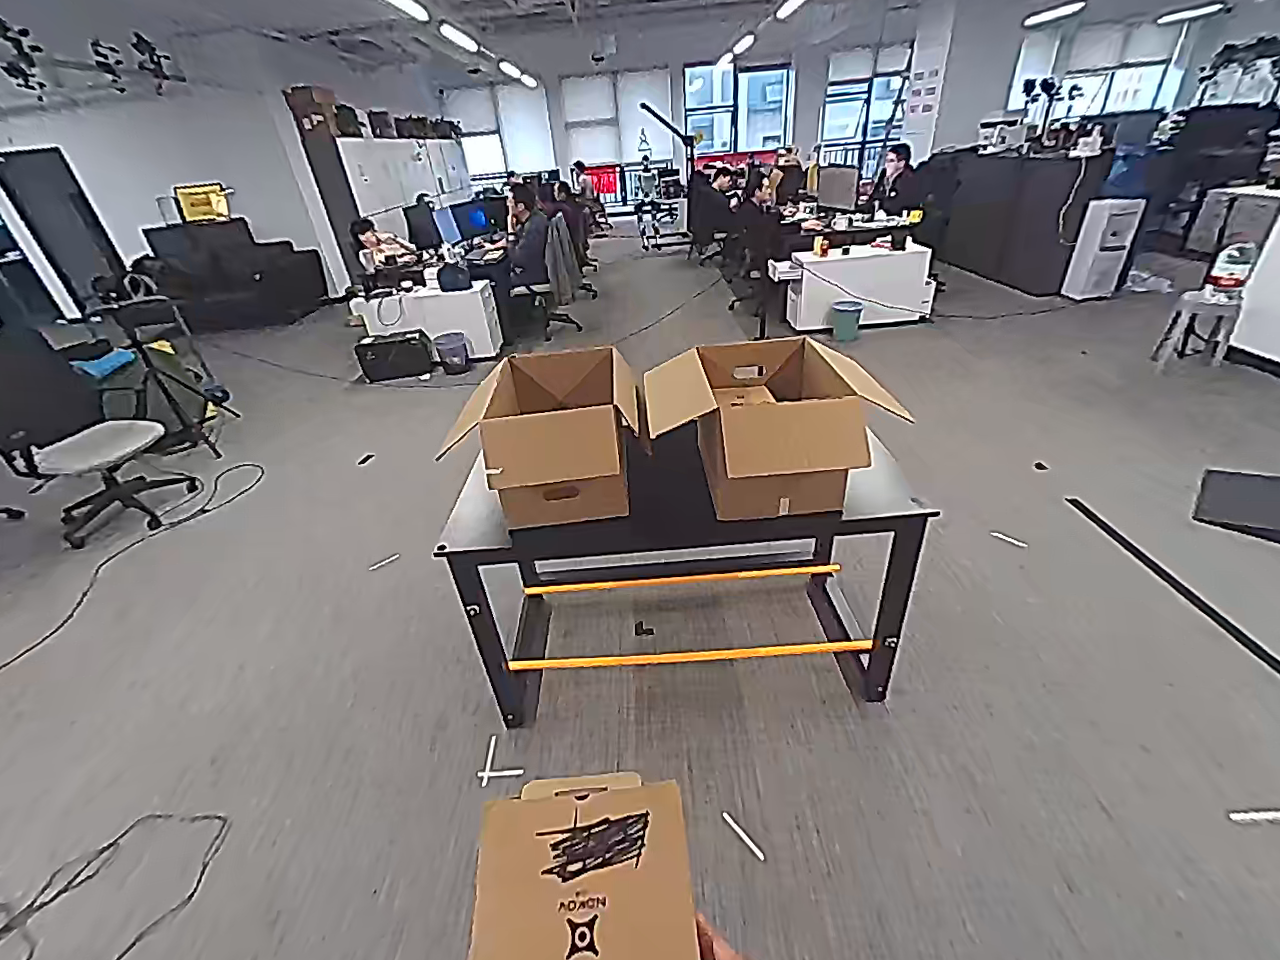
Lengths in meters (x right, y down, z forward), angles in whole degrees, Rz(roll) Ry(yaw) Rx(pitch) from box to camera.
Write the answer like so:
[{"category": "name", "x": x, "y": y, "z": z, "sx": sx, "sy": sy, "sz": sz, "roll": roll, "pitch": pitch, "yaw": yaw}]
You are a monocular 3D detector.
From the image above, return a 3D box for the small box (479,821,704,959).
[{"category": "small box", "x": -0.033, "y": 0.407, "z": 0.443, "sx": 0.168, "sy": 0.176, "sz": 0.179, "roll": -5, "pitch": 46, "yaw": -3}]
